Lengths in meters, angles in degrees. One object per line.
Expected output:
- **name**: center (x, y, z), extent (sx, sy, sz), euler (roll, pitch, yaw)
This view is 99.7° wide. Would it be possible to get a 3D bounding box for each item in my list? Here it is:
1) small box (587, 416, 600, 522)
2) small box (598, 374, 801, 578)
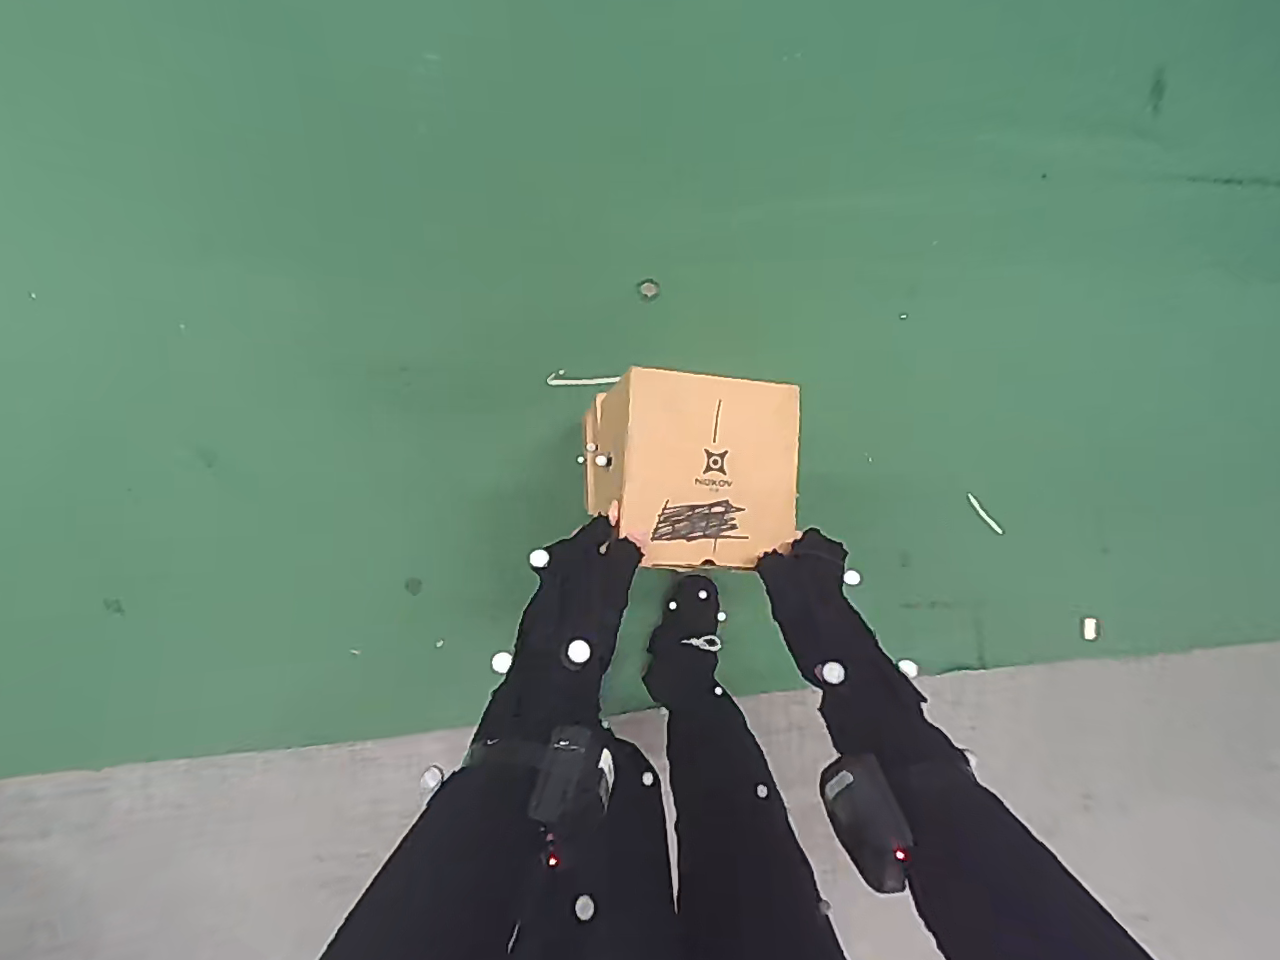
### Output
- **small box**: center (-0.009, -0.016, 0.964), extent (0.168, 0.176, 0.179), euler (1, 90, -6)
- **small box**: center (0.050, 0.003, 0.565), extent (0.168, 0.176, 0.179), euler (4, 85, -13)
